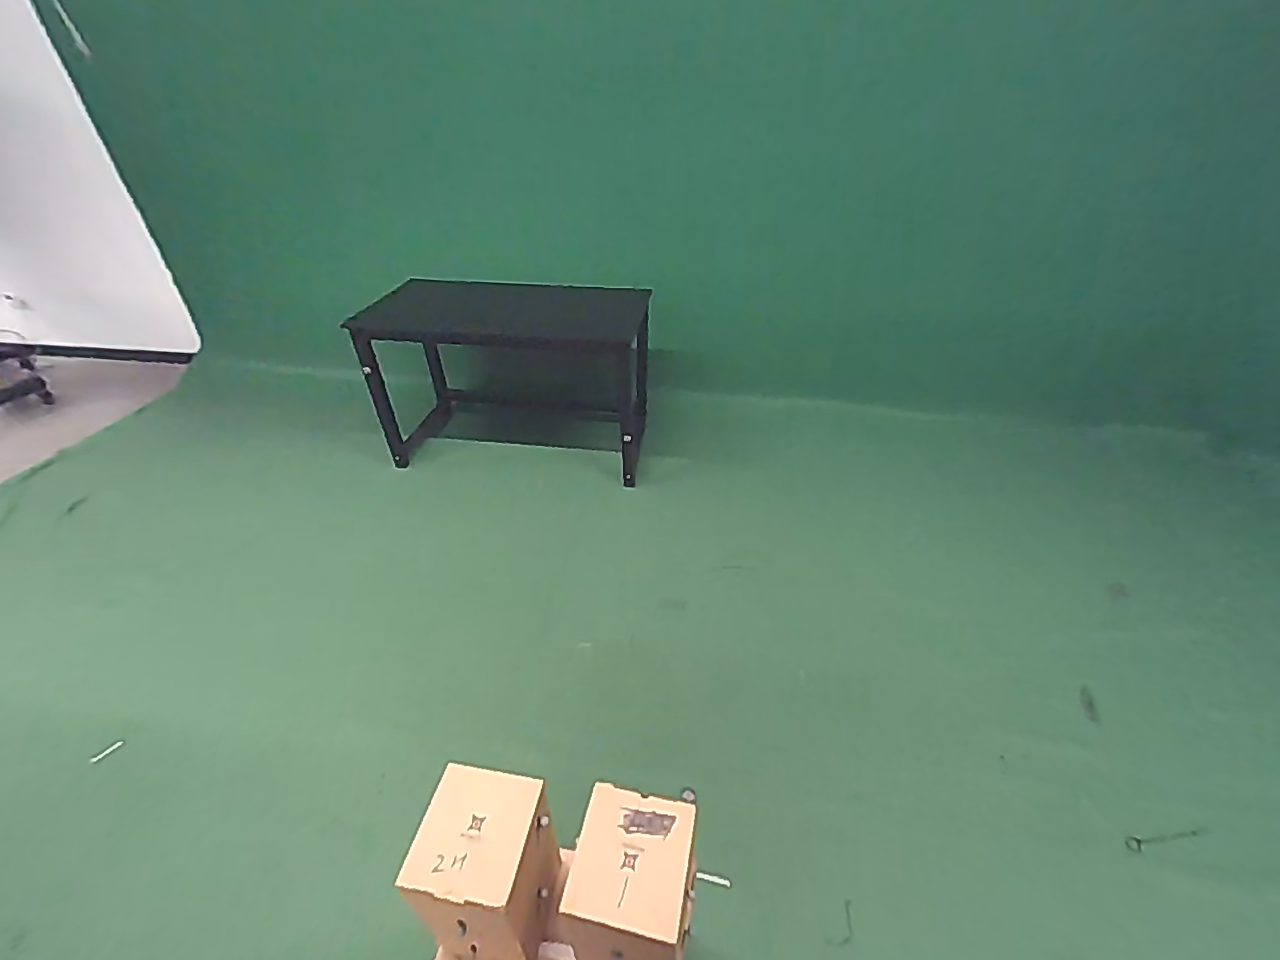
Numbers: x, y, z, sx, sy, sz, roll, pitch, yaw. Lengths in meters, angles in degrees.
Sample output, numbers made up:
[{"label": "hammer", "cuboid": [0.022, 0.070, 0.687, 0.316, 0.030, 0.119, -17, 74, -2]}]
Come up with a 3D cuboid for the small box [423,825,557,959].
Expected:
[{"label": "small box", "cuboid": [-0.249, 0.718, 0.948, 0.168, 0.176, 0.179, 7, 37, 9]}]

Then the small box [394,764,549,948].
[{"label": "small box", "cuboid": [-0.248, 0.587, 0.848, 0.168, 0.176, 0.179, 6, 37, 8]}]

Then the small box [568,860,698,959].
[{"label": "small box", "cuboid": [-0.004, 0.739, 0.912, 0.179, 0.176, 0.168, 7, 36, 14]}]

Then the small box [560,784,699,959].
[{"label": "small box", "cuboid": [-0.009, 0.603, 0.816, 0.168, 0.176, 0.179, 6, 37, 12]}]
